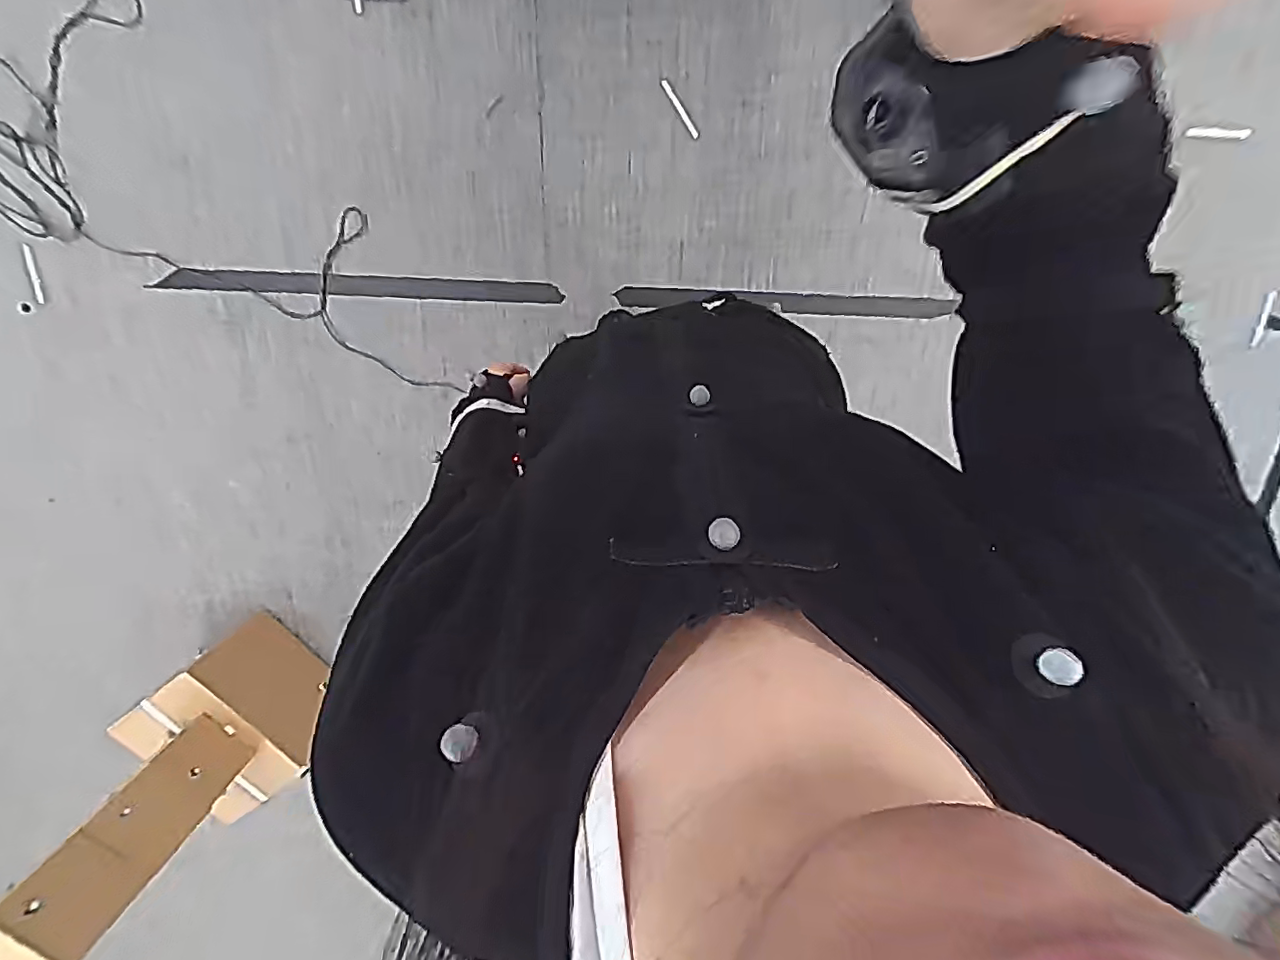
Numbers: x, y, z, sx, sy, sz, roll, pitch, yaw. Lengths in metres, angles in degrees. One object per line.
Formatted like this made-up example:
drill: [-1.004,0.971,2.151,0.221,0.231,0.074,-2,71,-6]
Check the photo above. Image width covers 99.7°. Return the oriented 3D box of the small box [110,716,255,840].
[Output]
small box: [-1.113,0.726,1.333,0.168,0.176,0.179,-38,103,10]

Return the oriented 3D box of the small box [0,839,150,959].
small box: [-1.106,0.821,1.017,0.168,0.176,0.179,-37,104,10]
